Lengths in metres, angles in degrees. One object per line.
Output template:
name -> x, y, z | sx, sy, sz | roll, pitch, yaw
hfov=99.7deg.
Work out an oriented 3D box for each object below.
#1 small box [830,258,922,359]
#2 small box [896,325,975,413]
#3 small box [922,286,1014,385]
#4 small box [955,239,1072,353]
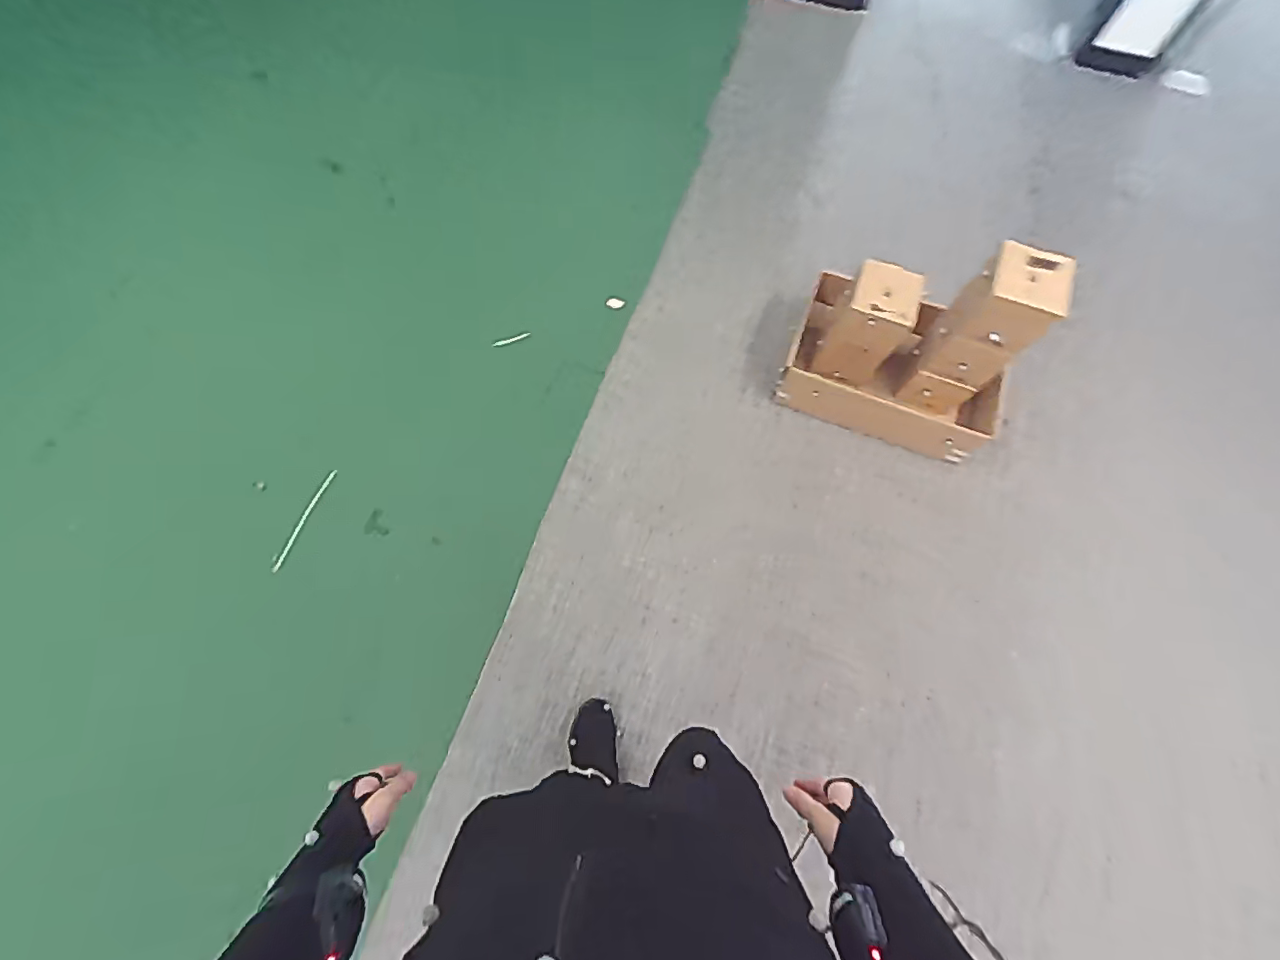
small box -> 0.649, -0.472, 1.503 | 0.168, 0.176, 0.179 | 19, 71, 5
small box -> 0.901, -0.330, 1.637 | 0.168, 0.176, 0.179 | 21, 71, 7
small box -> 0.905, -0.388, 1.482 | 0.168, 0.176, 0.179 | 21, 71, 7
small box -> 0.908, -0.446, 1.328 | 0.168, 0.176, 0.179 | 21, 72, 7
